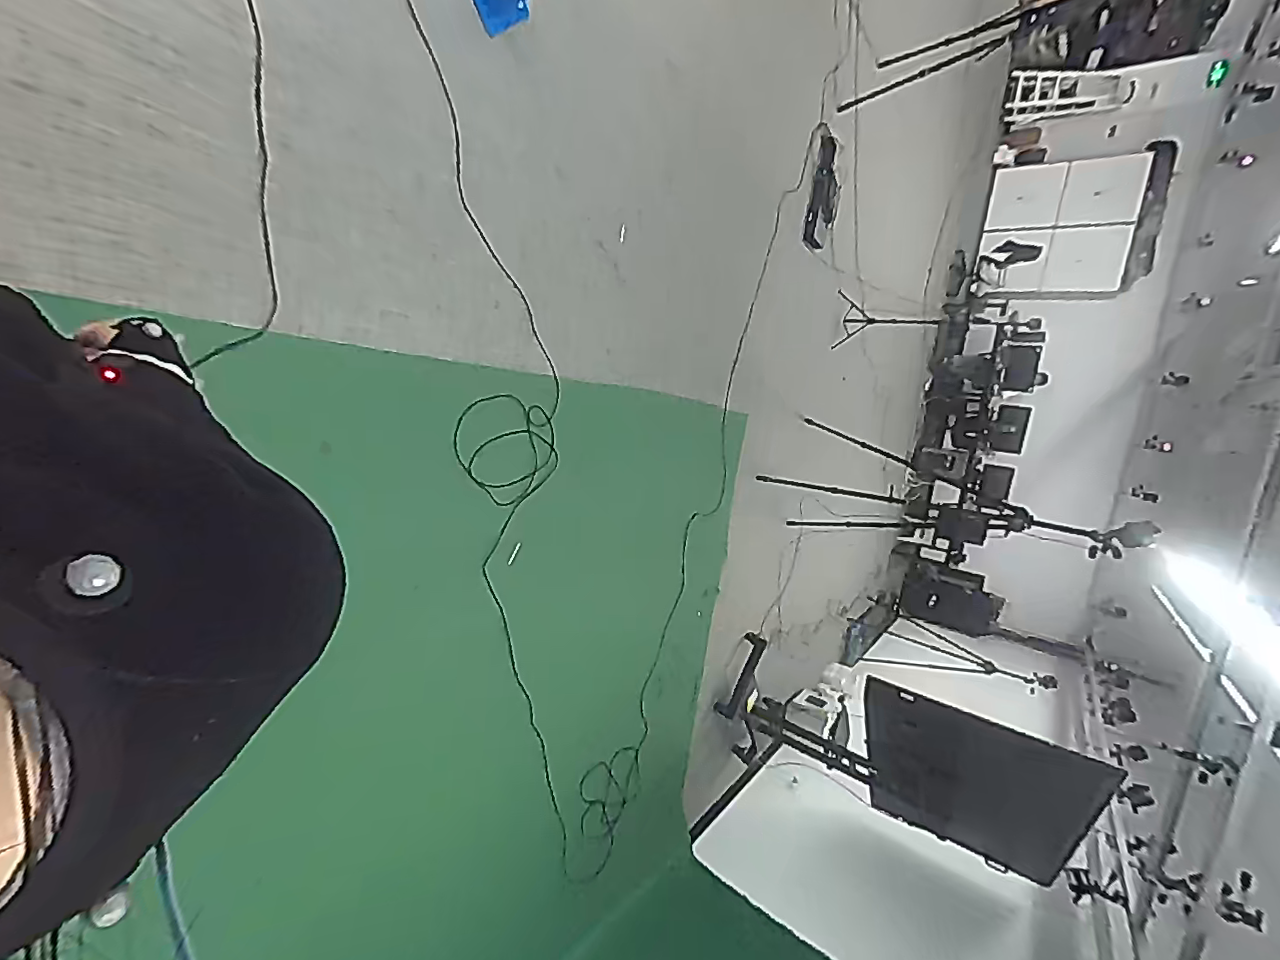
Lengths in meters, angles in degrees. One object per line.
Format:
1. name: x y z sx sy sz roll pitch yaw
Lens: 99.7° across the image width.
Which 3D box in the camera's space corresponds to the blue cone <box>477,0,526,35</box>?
1. blue cone: -0.288 -1.405 1.469 0.193 0.380 0.192 -57 139 -29
